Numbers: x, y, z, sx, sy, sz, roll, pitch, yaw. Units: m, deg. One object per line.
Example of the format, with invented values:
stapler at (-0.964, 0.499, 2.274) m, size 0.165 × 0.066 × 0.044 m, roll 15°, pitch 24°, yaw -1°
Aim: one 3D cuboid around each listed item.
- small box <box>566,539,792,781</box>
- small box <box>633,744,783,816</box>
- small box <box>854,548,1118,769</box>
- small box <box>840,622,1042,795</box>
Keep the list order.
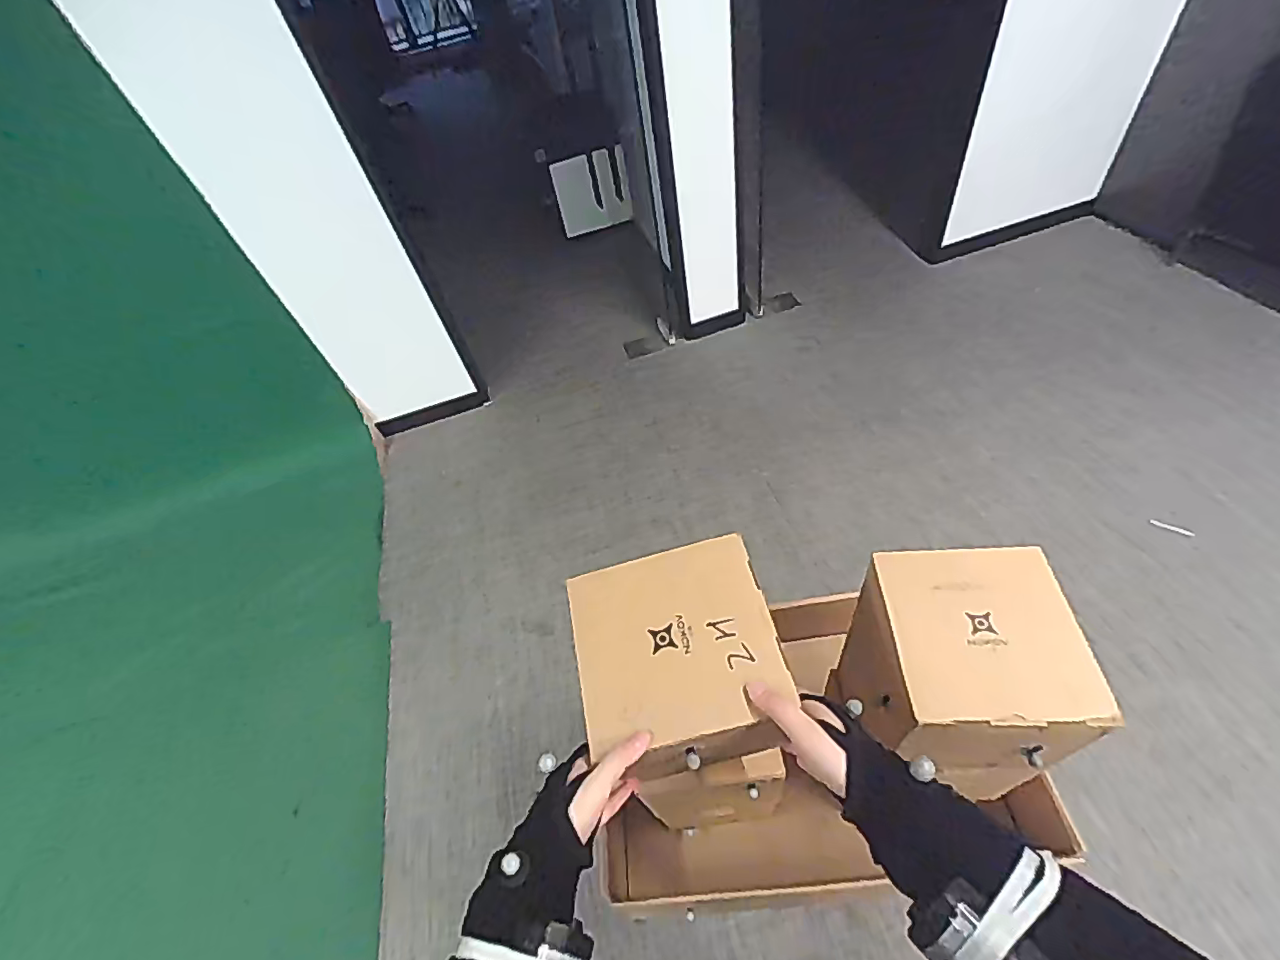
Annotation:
small box at (0.041, 0.187, 0.541) m, size 0.179 × 0.176 × 0.168 m, roll -16°, pitch 55°, yaw 2°
small box at (0.085, 0.336, 0.726) m, size 0.179 × 0.176 × 0.168 m, roll -10°, pitch 49°, yaw 3°
small box at (0.333, 0.192, 0.568) m, size 0.168 × 0.176 × 0.179 m, roll -4°, pitch 49°, yaw 10°
small box at (0.362, 0.294, 0.692) m, size 0.168 × 0.176 × 0.179 m, roll -4°, pitch 51°, yaw 9°
